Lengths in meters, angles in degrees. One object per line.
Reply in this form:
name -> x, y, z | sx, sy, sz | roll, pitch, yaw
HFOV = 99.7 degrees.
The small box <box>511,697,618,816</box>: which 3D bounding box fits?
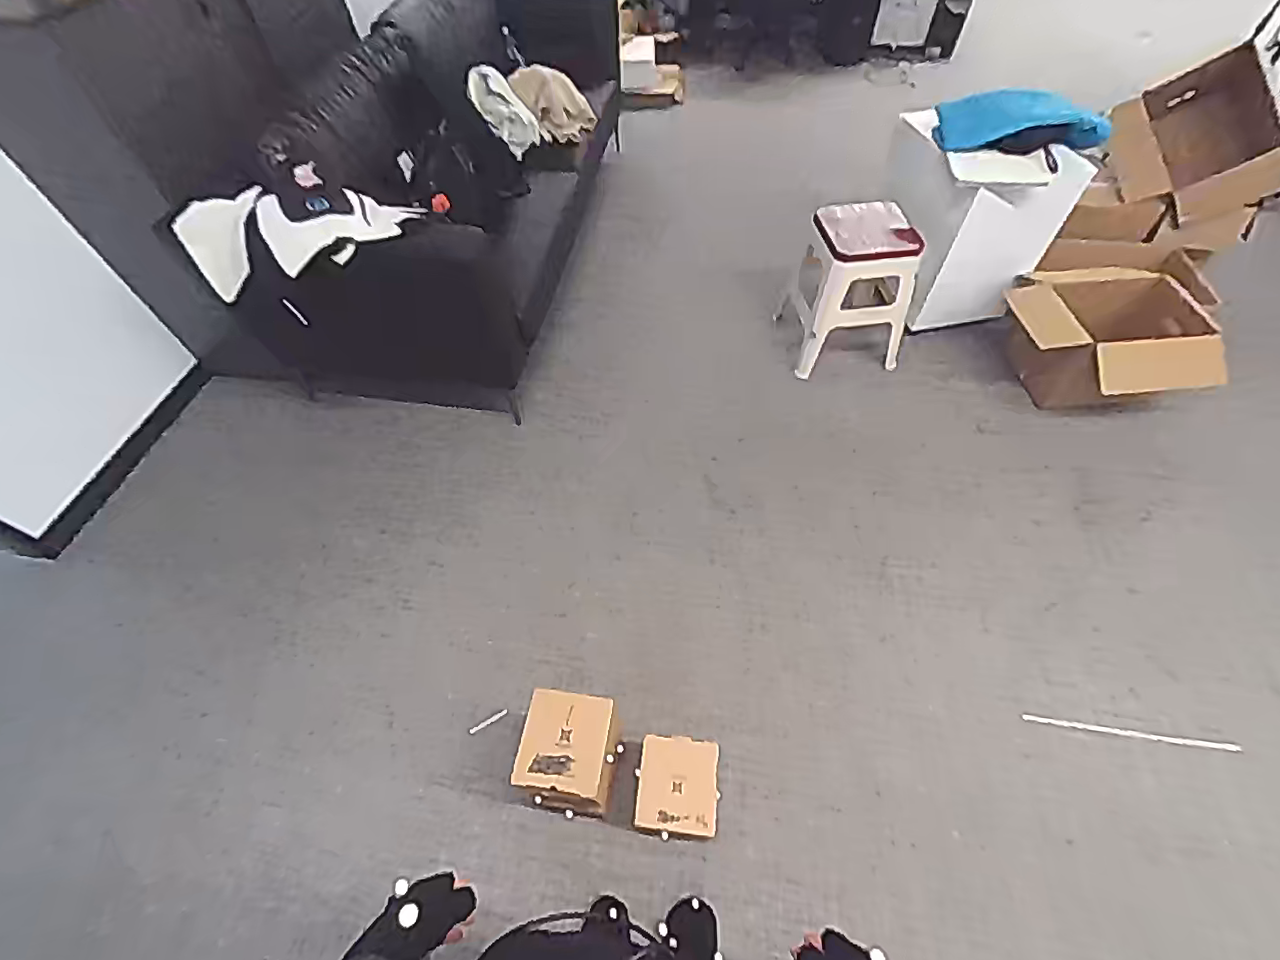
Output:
small box -> -0.140, 0.559, 1.087 | 0.168, 0.176, 0.179 | 6, 53, 7
